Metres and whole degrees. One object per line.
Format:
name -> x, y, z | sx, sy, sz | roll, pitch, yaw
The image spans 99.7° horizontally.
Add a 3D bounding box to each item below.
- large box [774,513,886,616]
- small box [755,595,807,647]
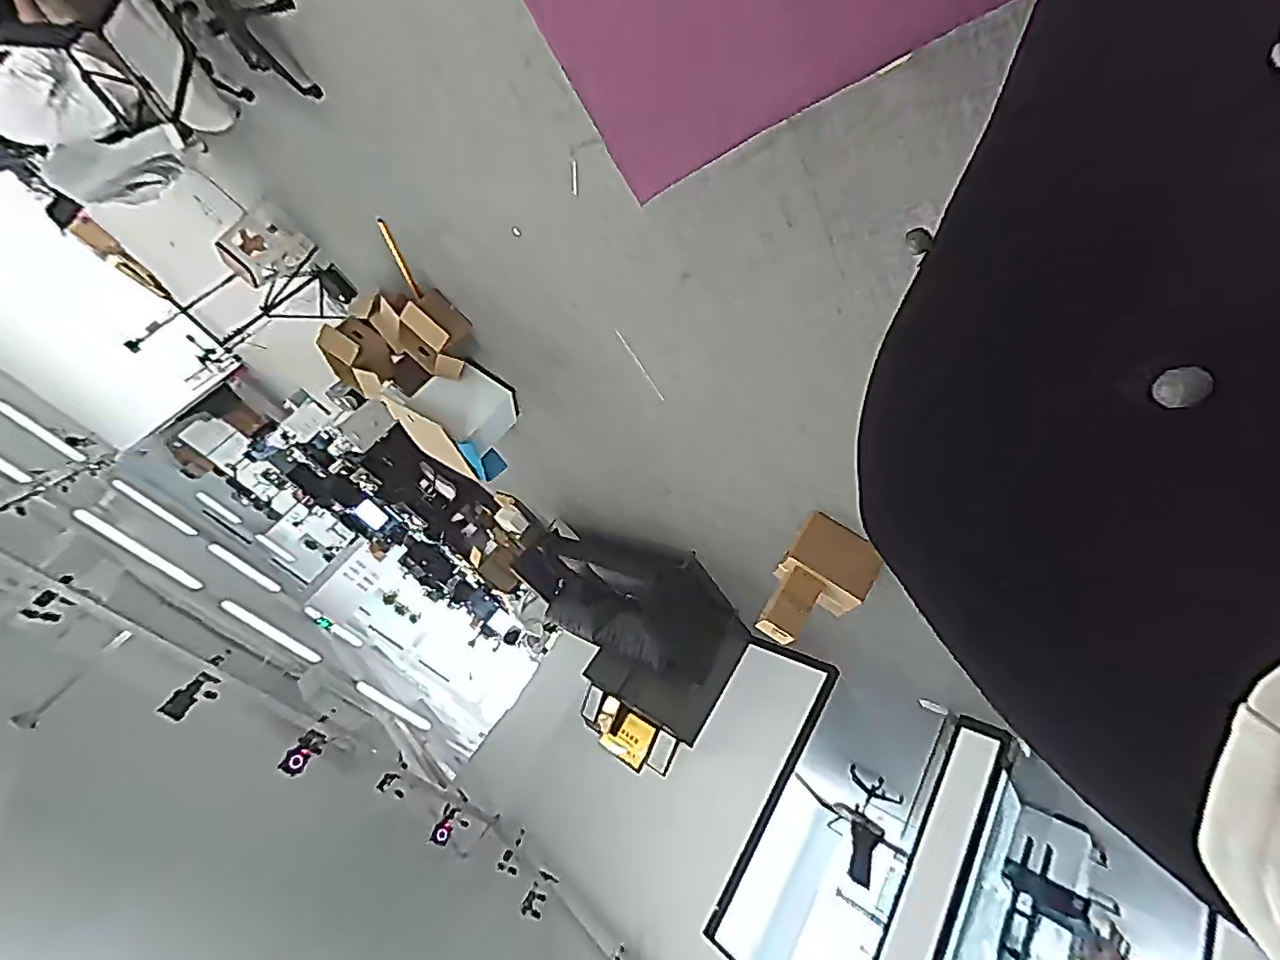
large box -> 0.976, 0.439, 2.804 | 0.408, 0.320, 0.320 | 32, 157, 11
small box -> 0.688, 0.680, 2.622 | 0.168, 0.176, 0.179 | 33, 157, 10
